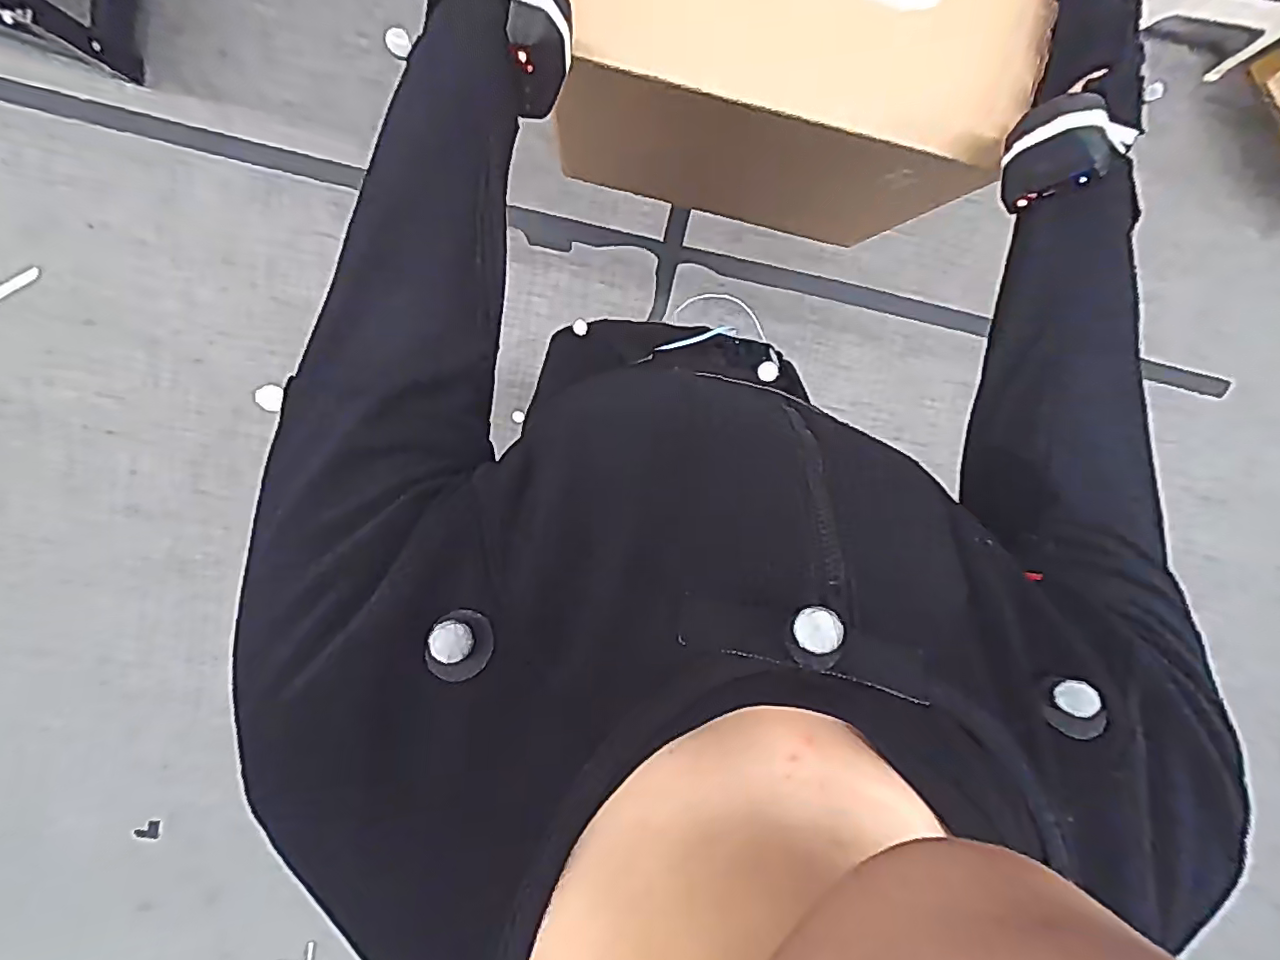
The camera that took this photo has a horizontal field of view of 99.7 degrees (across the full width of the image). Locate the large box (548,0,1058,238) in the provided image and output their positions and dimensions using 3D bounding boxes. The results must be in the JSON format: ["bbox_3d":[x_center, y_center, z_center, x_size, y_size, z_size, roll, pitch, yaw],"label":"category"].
[{"bbox_3d":[0.136,-0.479,0.553,0.408,0.320,0.320,11,103,-7],"label":"large box"}]
